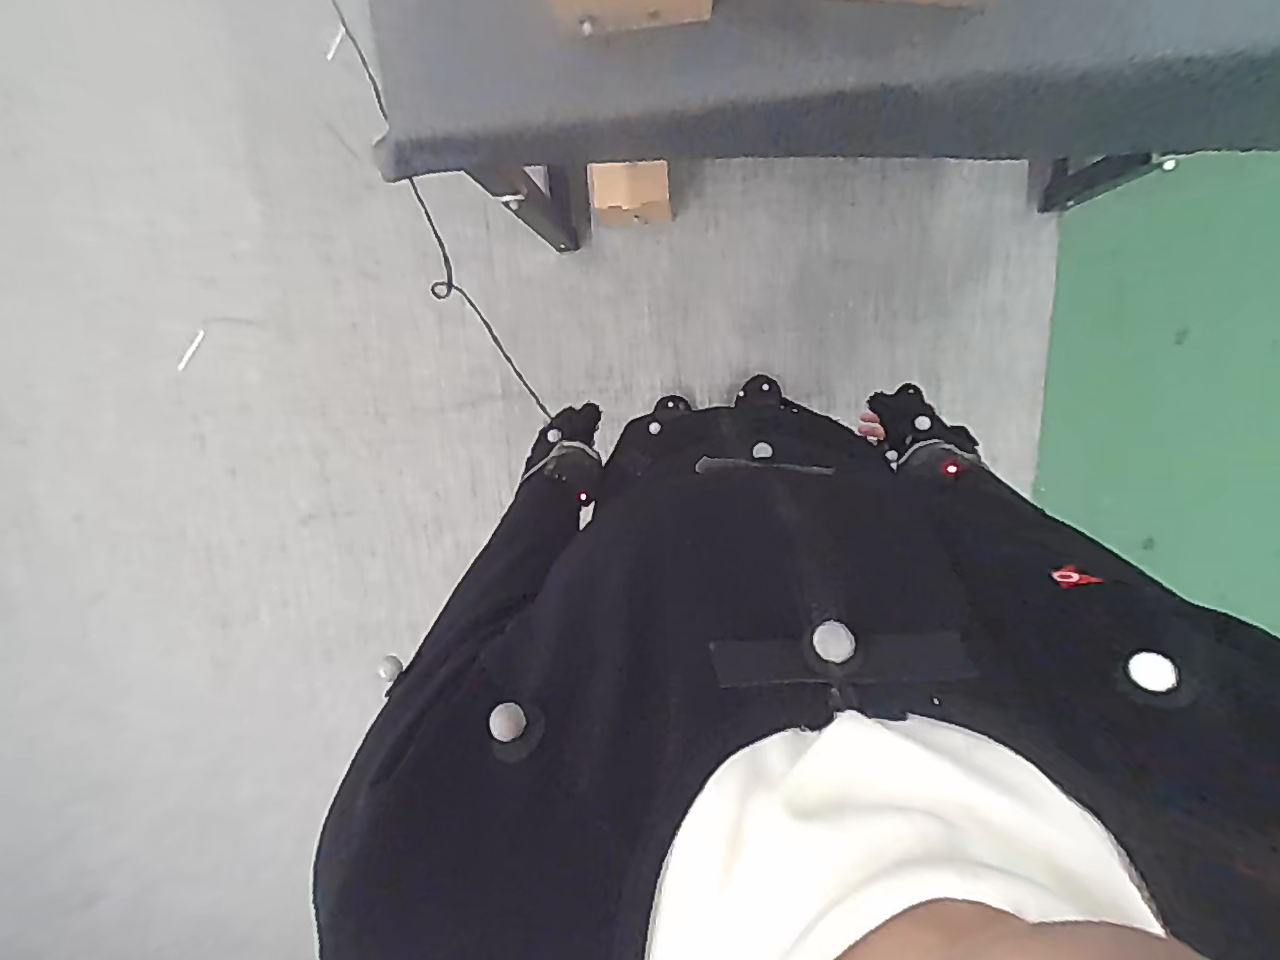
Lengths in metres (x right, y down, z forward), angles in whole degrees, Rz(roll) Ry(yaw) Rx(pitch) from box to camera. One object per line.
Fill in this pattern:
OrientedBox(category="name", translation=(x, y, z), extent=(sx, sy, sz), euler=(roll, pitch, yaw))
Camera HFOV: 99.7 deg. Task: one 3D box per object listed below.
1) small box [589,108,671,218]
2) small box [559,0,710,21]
OrientedBox(category="small box", translation=(-0.017, -0.707, 1.229), extent=(0.168, 0.176, 0.179), euler=(-2, 102, 6))
OrientedBox(category="small box", translation=(-0.014, -0.575, 0.506), extent=(0.168, 0.176, 0.179), euler=(-2, 100, 5))
